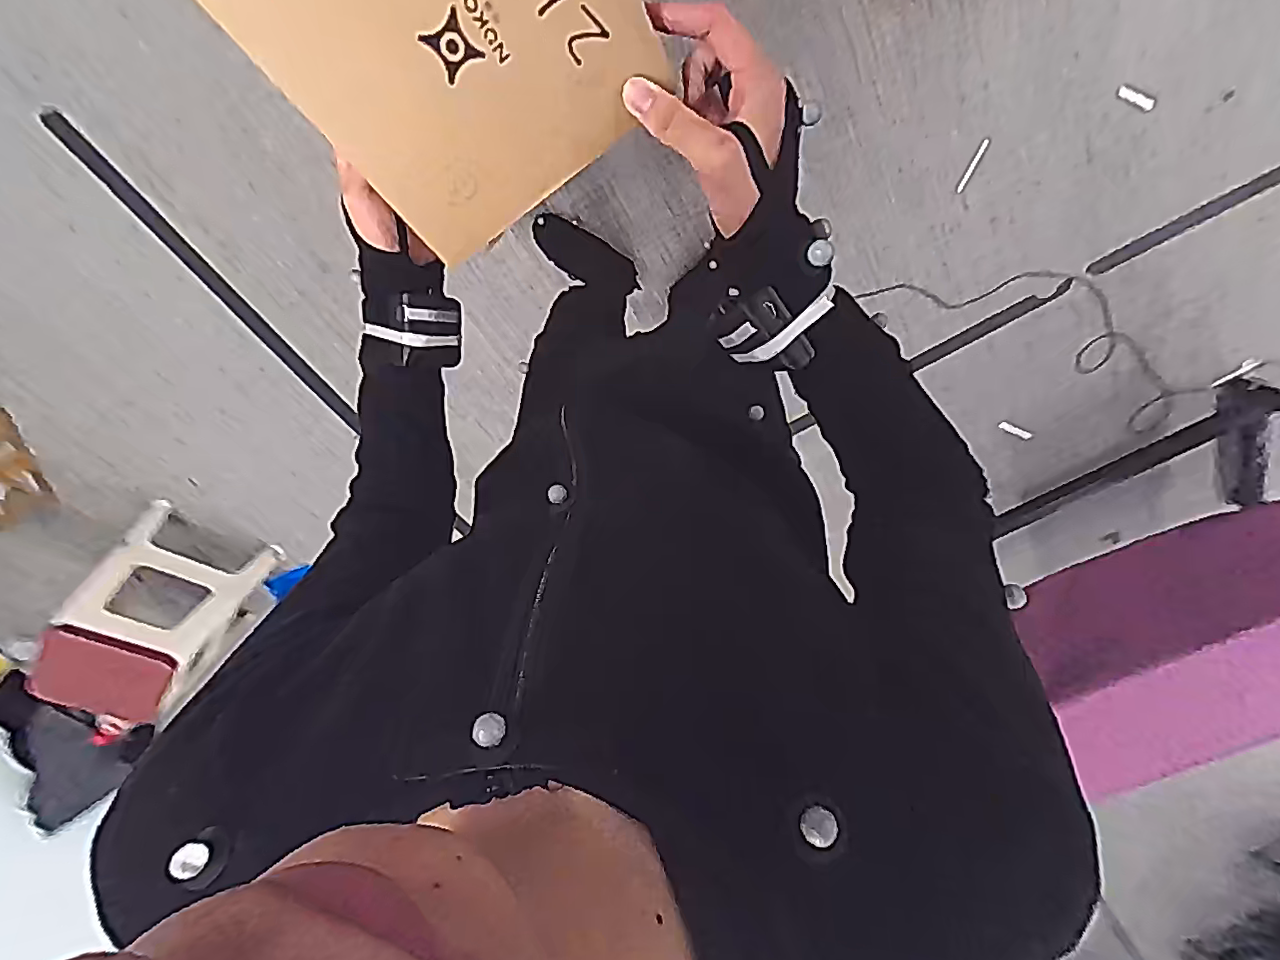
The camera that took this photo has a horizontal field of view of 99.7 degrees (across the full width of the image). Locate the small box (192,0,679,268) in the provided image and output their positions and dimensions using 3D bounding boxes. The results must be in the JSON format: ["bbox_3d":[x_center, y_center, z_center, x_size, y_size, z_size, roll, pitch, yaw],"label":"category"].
[{"bbox_3d":[-0.110,-0.267,0.308,0.179,0.176,0.168,-34,141,8],"label":"small box"}]
